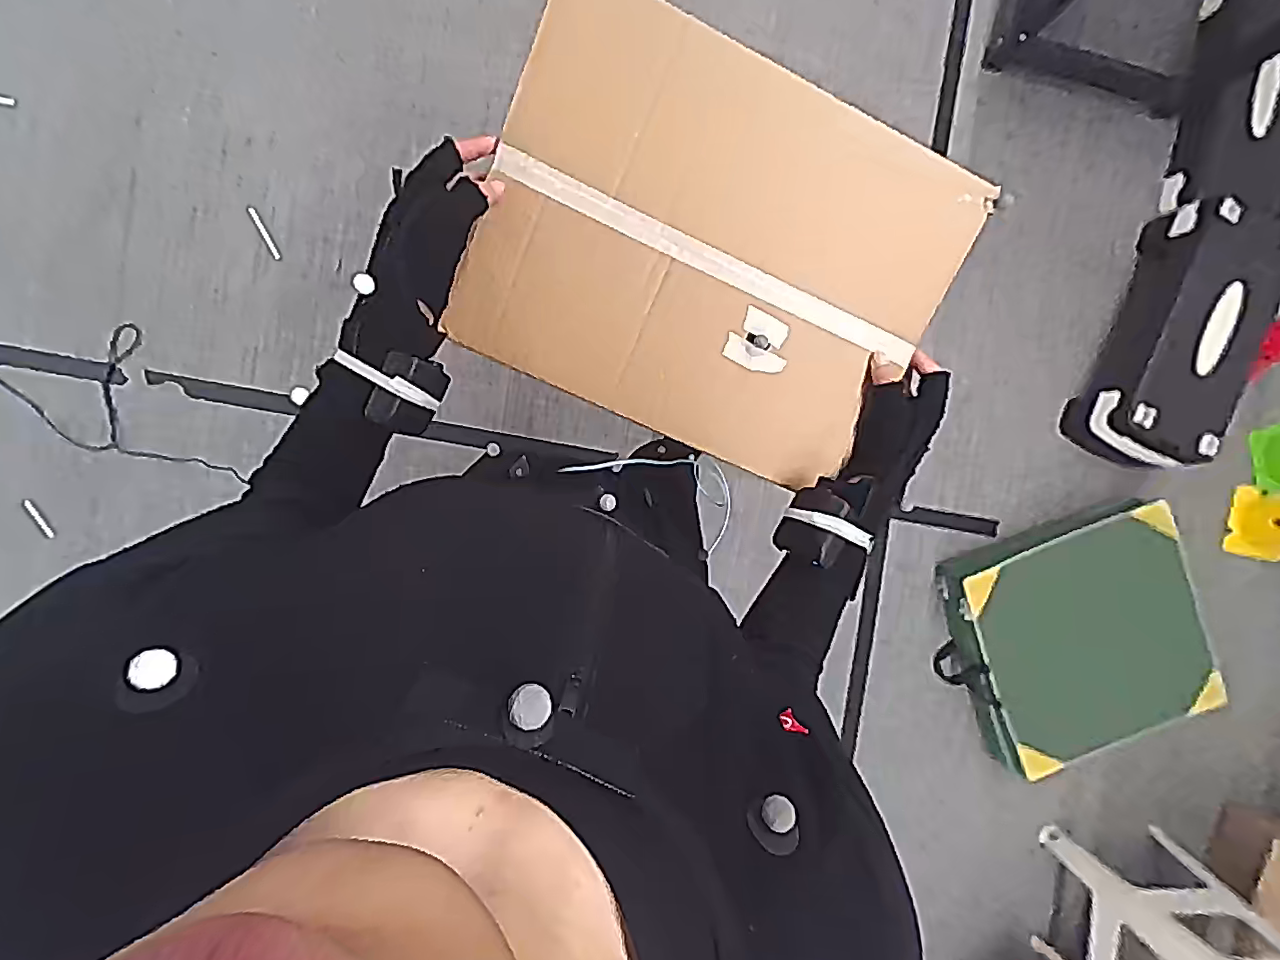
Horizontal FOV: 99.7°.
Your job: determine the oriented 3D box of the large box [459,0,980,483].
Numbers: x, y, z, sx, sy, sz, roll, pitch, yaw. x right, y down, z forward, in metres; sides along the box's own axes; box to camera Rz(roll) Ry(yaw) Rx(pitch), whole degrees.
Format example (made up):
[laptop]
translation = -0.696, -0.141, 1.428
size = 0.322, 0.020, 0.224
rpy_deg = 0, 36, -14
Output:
[large box]
translation = 0.062, -0.240, 0.638
size = 0.408, 0.320, 0.320
rpy_deg = 23, 103, -8
